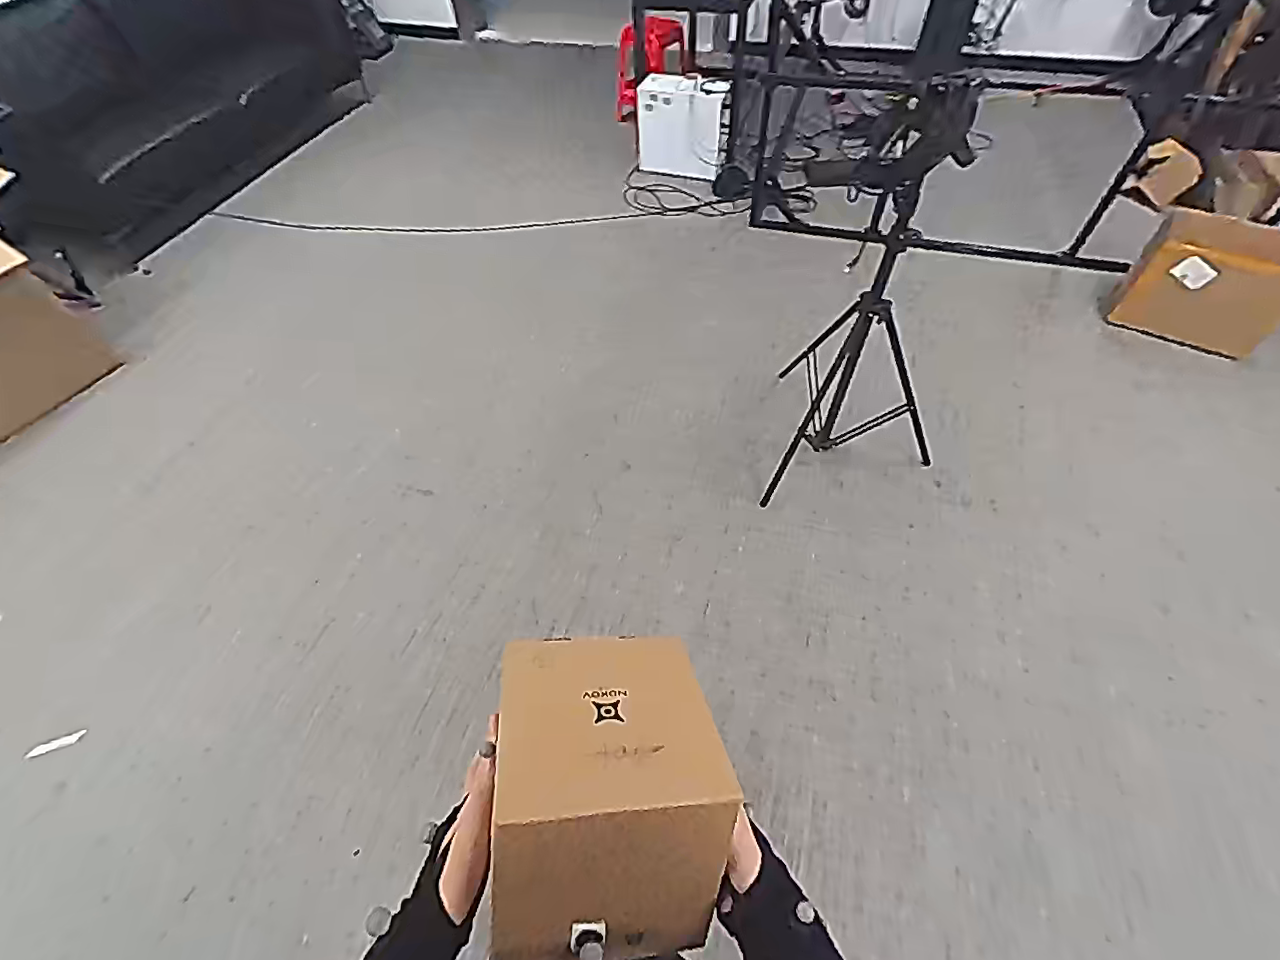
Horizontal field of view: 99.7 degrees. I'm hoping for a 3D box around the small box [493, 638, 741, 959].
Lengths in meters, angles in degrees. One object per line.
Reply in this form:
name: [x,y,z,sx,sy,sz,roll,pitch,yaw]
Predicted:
small box: [-0.034,0.257,0.456,0.168,0.176,0.179,1,23,-13]
